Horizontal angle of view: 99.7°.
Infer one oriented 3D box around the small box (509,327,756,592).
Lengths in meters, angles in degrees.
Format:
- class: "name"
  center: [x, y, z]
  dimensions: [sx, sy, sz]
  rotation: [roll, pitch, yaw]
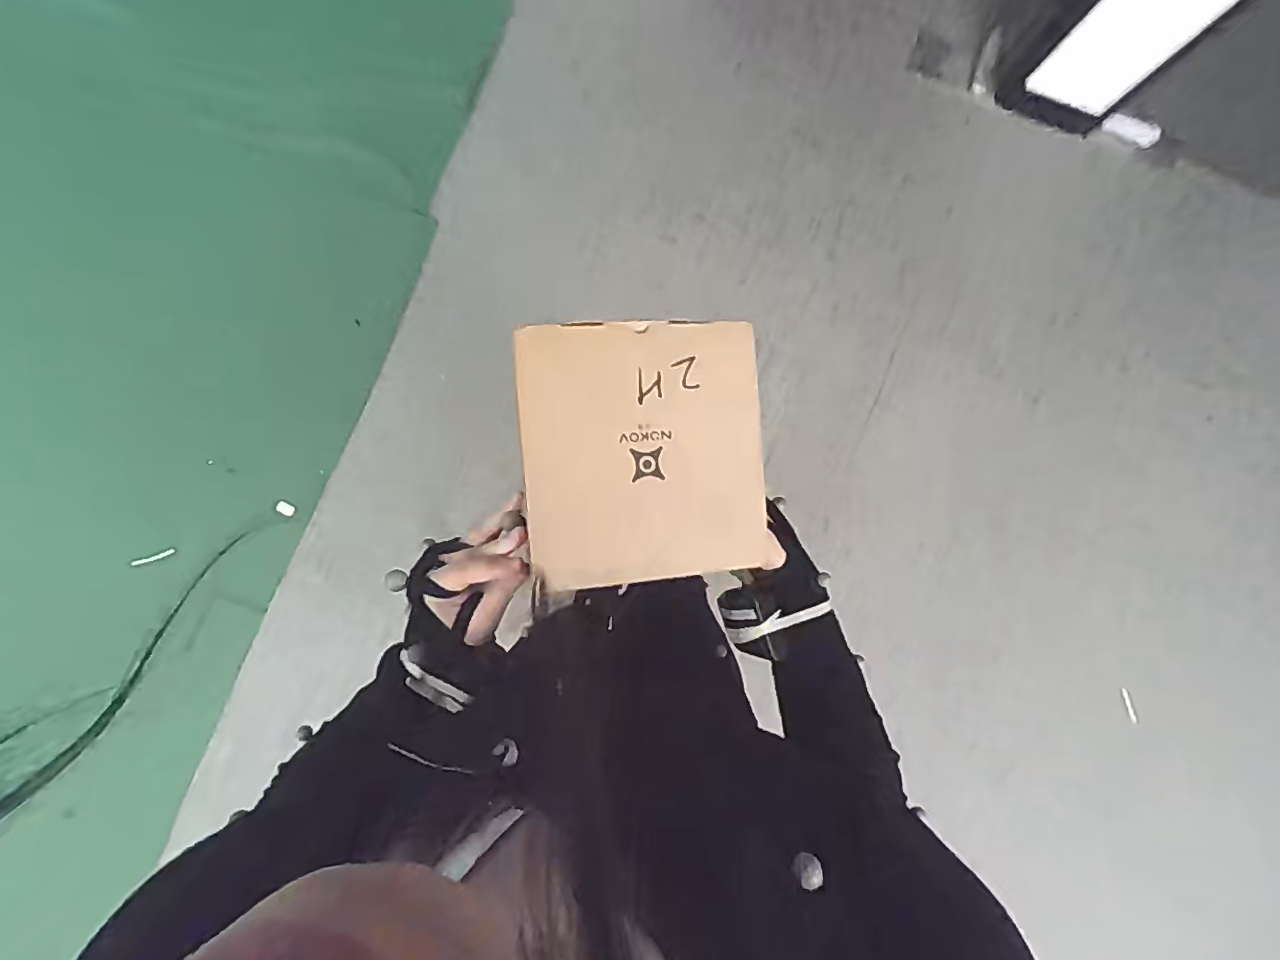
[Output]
- class: "small box"
  center: [-0.017, -0.019, 0.447]
  dimensions: [0.168, 0.176, 0.179]
  rotation: [-4, 92, -13]
